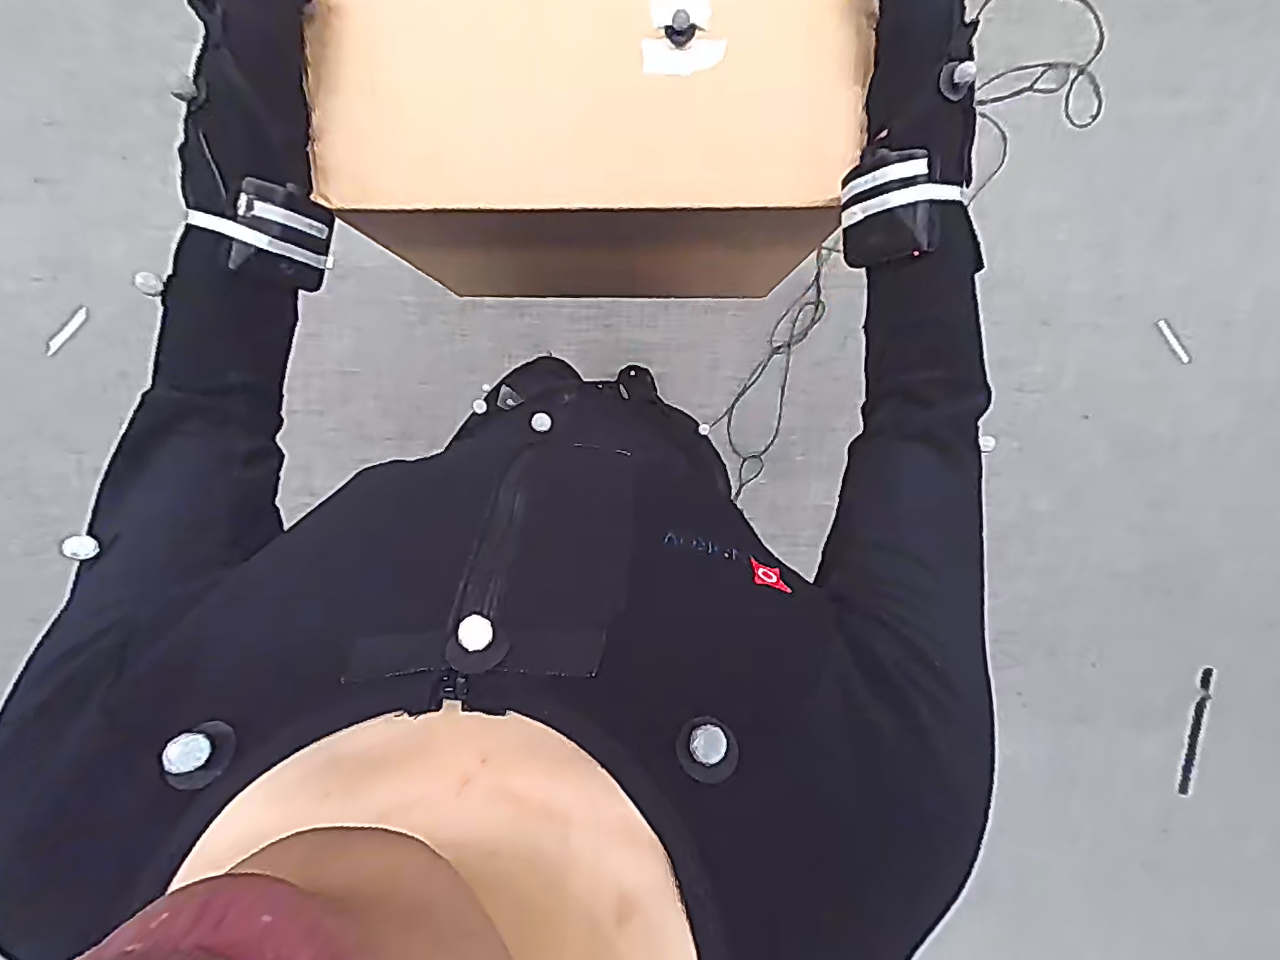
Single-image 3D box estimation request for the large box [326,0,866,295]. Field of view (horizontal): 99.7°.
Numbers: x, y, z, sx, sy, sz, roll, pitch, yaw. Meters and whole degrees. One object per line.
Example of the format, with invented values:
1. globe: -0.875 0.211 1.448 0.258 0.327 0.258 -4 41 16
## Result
1. large box: -0.033 -0.382 0.543 0.408 0.320 0.320 0 97 0
